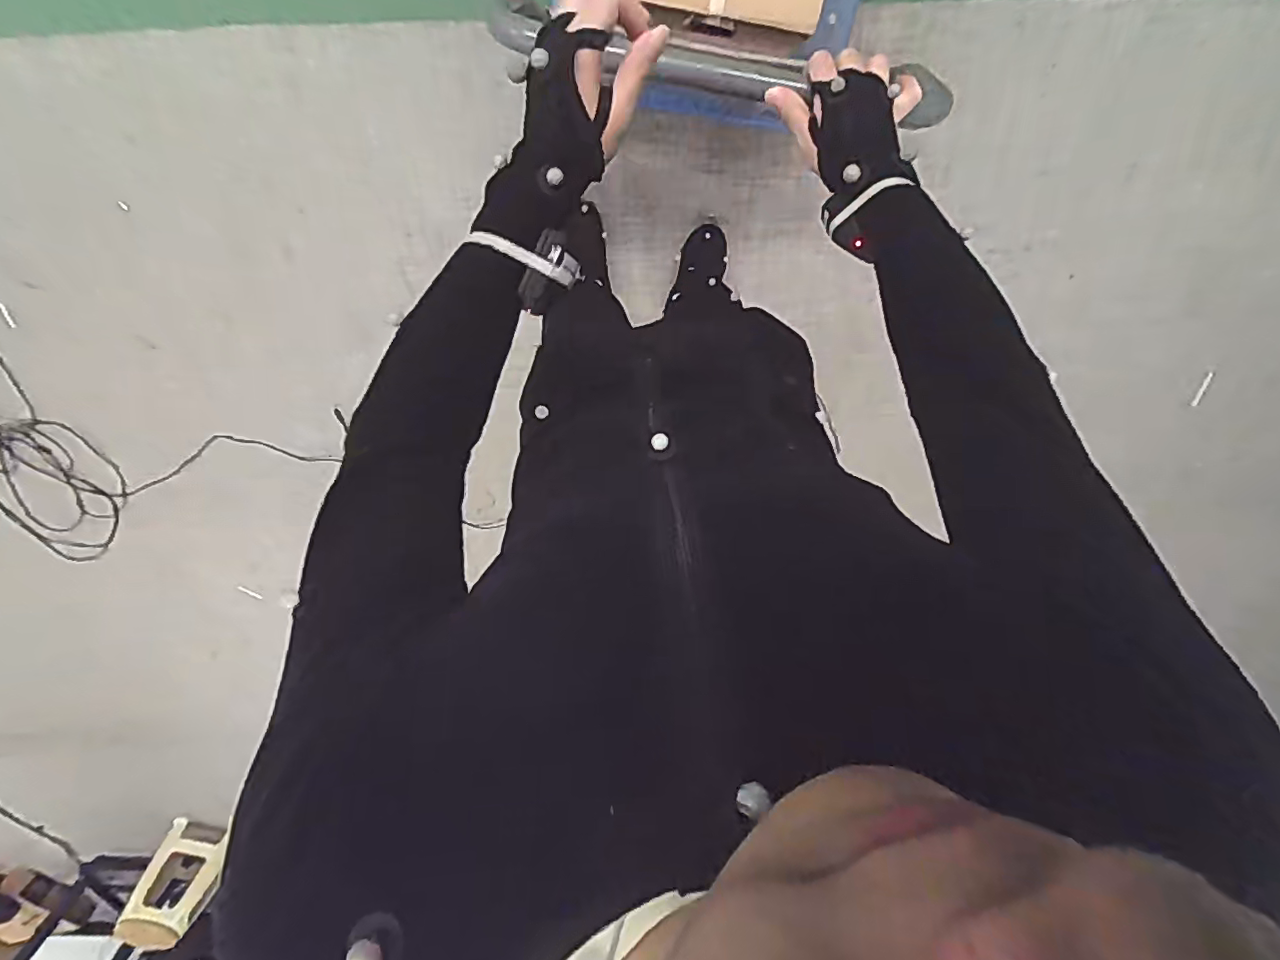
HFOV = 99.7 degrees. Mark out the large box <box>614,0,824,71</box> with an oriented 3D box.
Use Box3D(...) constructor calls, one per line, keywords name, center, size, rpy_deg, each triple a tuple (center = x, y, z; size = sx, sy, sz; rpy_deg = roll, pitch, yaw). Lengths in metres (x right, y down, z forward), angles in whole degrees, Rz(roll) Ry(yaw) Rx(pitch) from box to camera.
Box3D(name="large box", center=(0.140, -0.923, 0.837), size=(0.320, 0.320, 0.408), rpy_deg=(8, 119, -3))
